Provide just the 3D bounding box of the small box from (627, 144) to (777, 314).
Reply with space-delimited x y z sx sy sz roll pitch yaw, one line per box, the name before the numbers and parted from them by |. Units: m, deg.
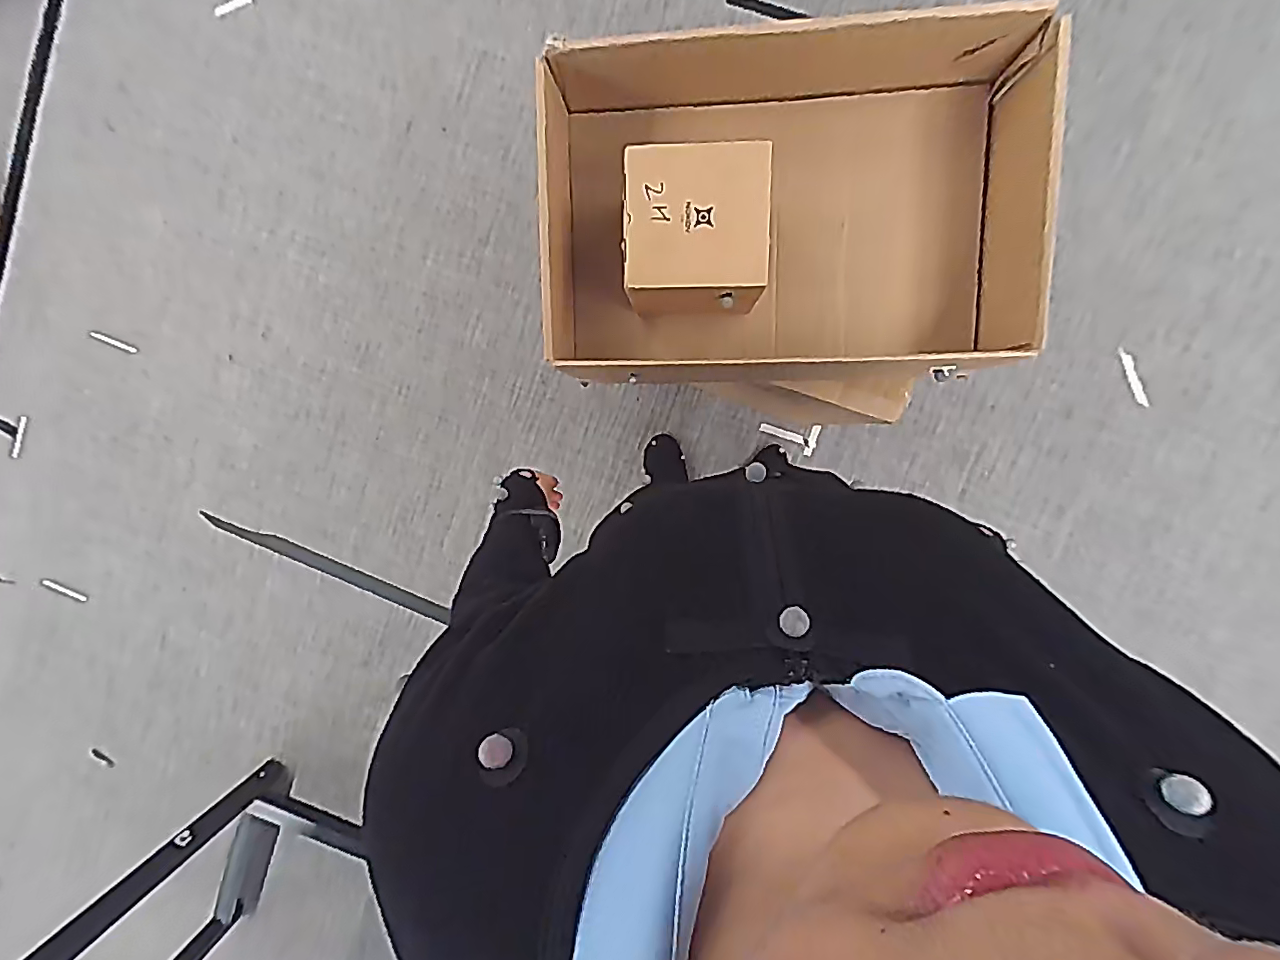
small box | 0.077 -0.323 0.724 0.179 0.176 0.168 1 96 4
